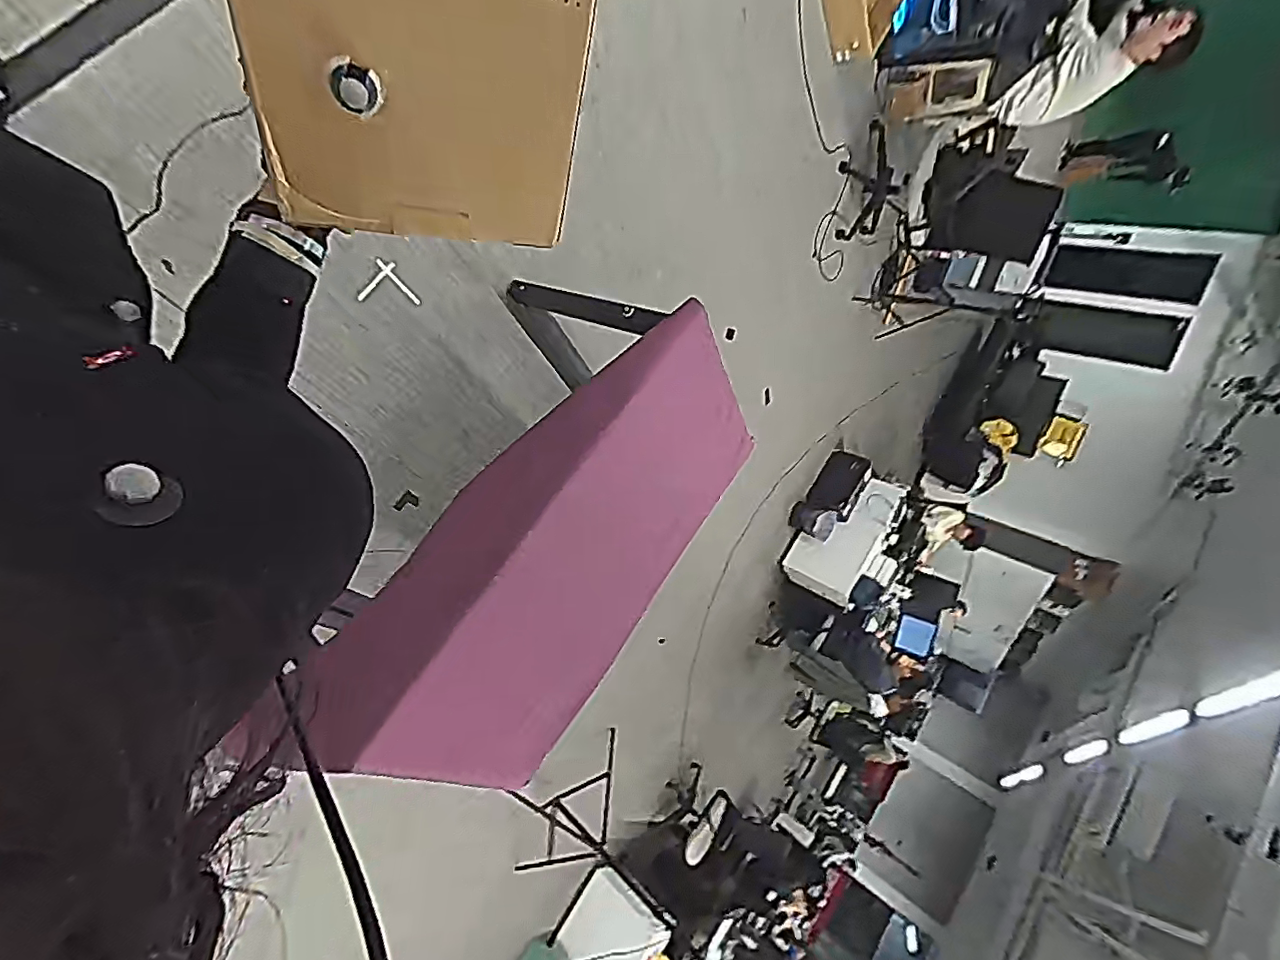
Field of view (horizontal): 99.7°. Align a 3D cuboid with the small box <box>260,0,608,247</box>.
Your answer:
[{"bbox_3d":[-0.127,-0.272,0.329,0.168,0.179,0.176,-4,142,-25],"label":"small box"}]
